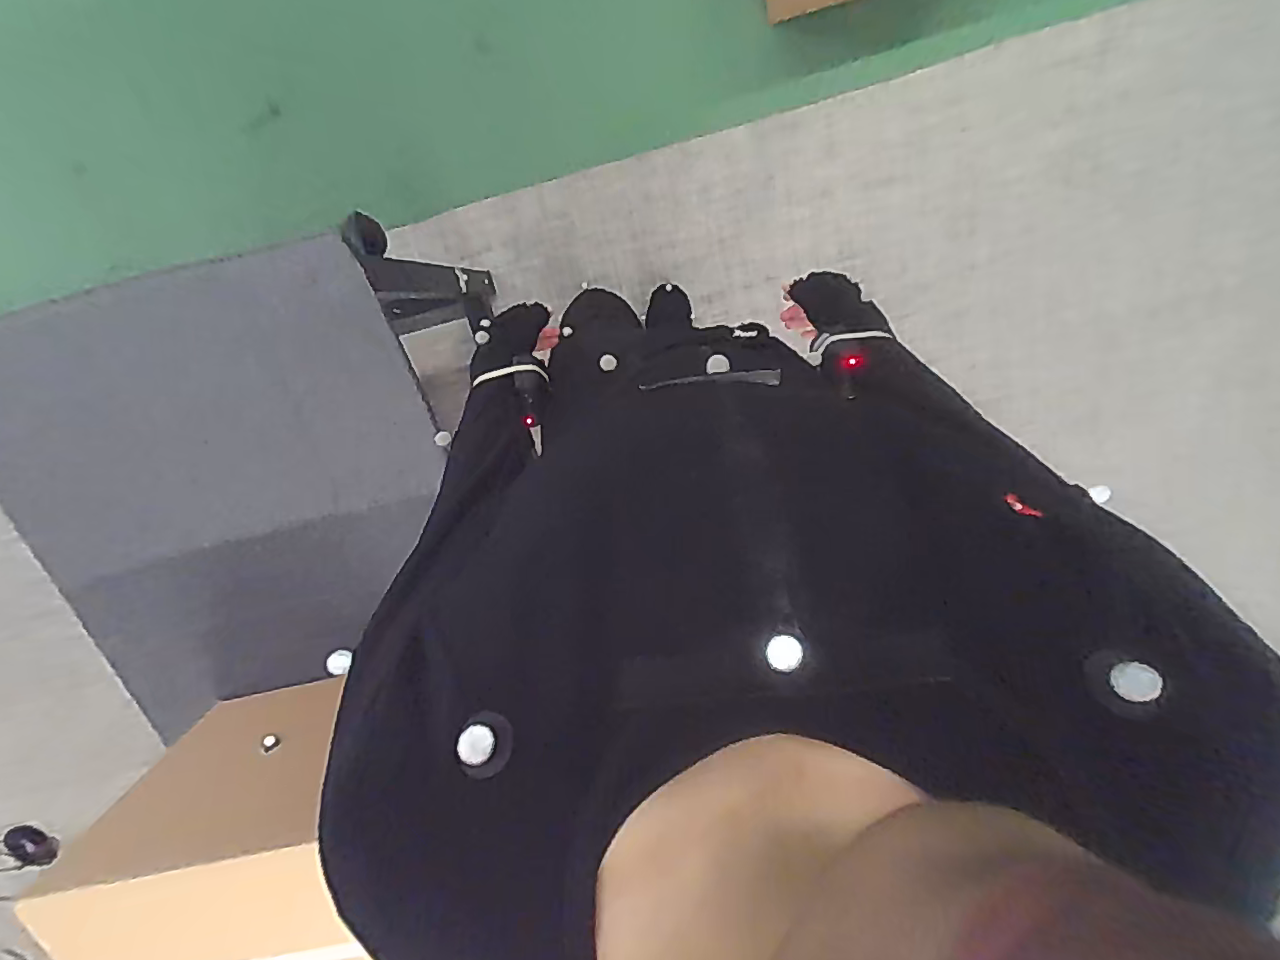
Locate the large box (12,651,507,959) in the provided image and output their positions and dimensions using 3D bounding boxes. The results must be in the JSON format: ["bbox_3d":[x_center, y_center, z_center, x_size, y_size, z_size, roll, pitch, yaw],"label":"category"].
[{"bbox_3d":[-0.450,0.492,0.750,0.408,0.320,0.320,-14,109,4],"label":"large box"}]
